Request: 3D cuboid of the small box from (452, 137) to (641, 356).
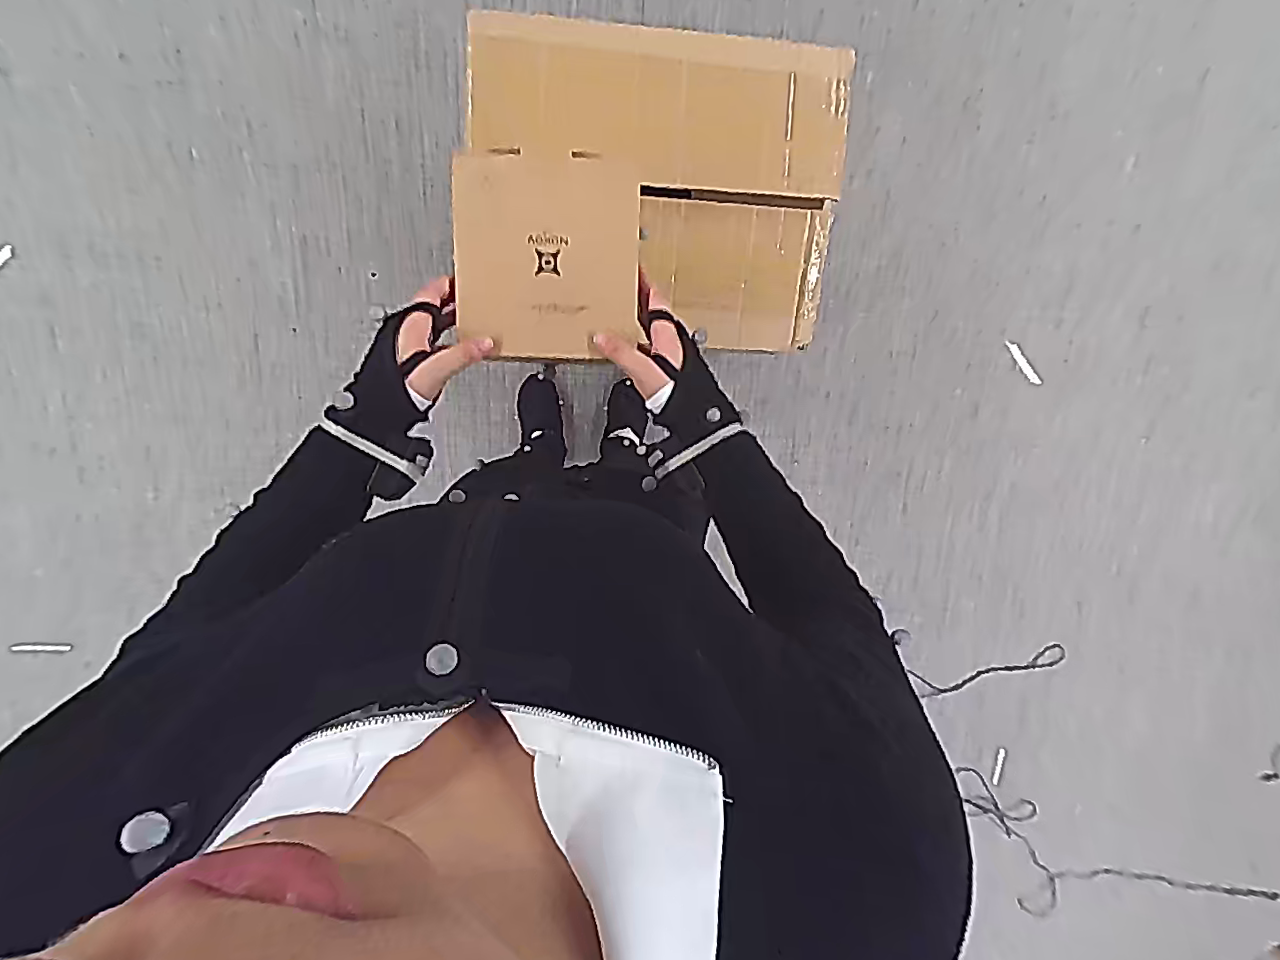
[{"bbox_3d":[-0.087,-0.223,0.561,0.168,0.176,0.179,0,101,-3],"label":"small box"}]
